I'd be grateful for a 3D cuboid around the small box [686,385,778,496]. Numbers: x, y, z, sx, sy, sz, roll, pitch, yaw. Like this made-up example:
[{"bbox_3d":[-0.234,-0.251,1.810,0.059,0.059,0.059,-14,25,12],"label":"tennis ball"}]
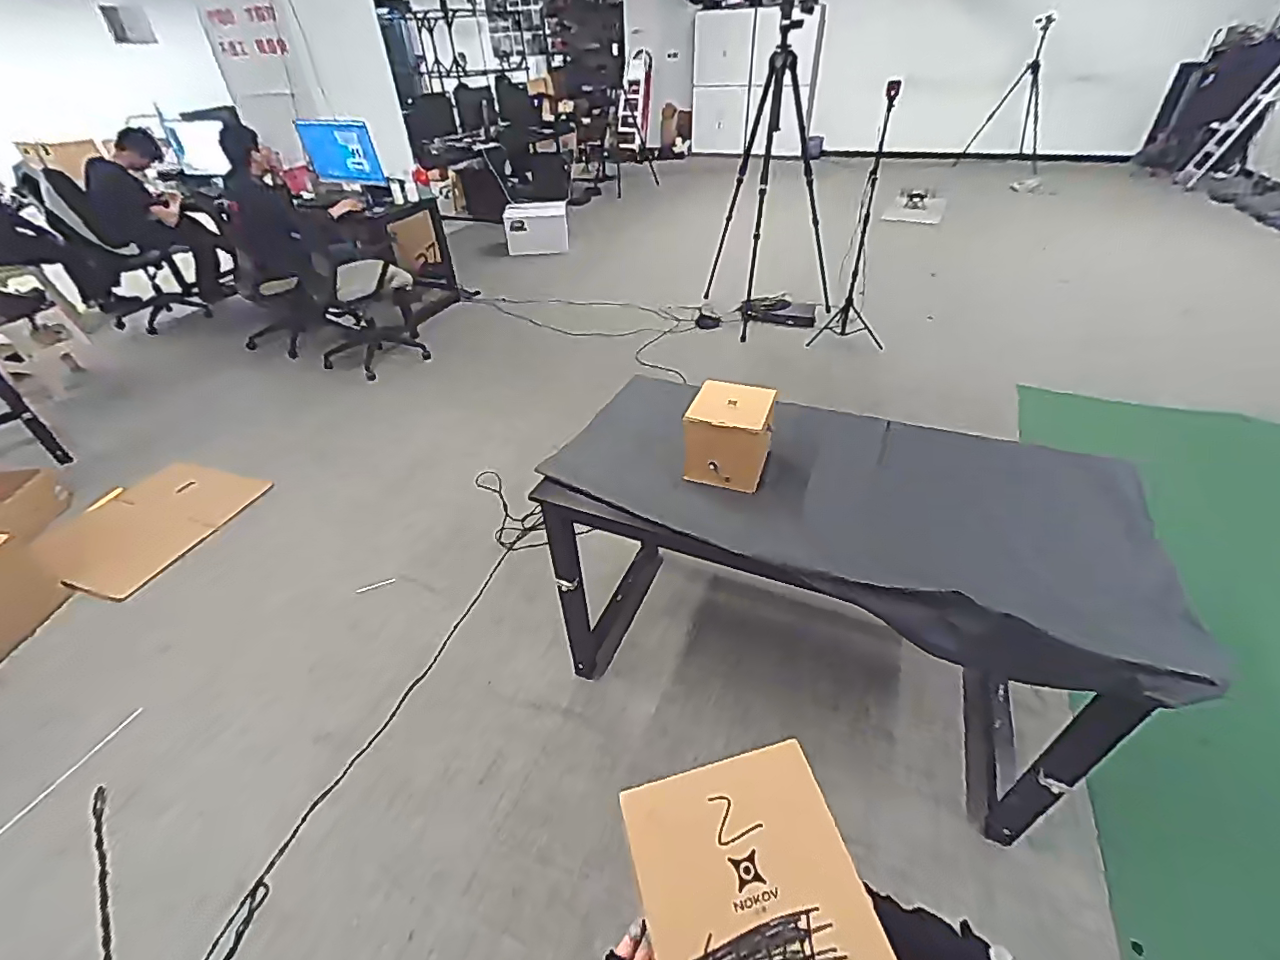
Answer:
[{"bbox_3d":[0.206,-0.091,1.233,0.168,0.176,0.179,13,42,17],"label":"small box"}]
